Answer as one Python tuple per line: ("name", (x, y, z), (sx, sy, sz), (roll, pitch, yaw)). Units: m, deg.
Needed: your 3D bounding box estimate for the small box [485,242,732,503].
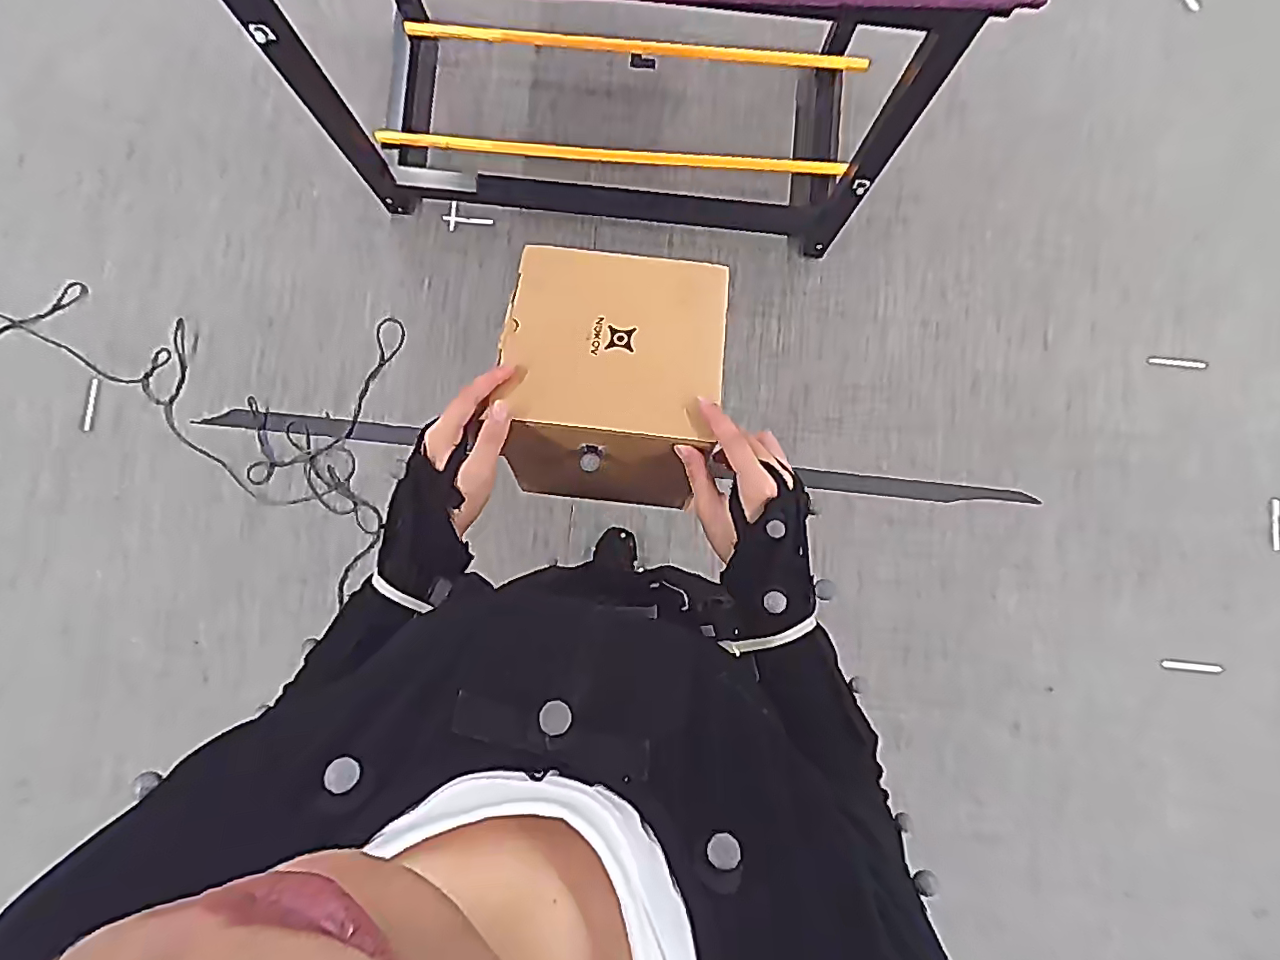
("small box", (-0.022, -0.085, 0.496), (0.179, 0.176, 0.168), (6, 70, 1))
